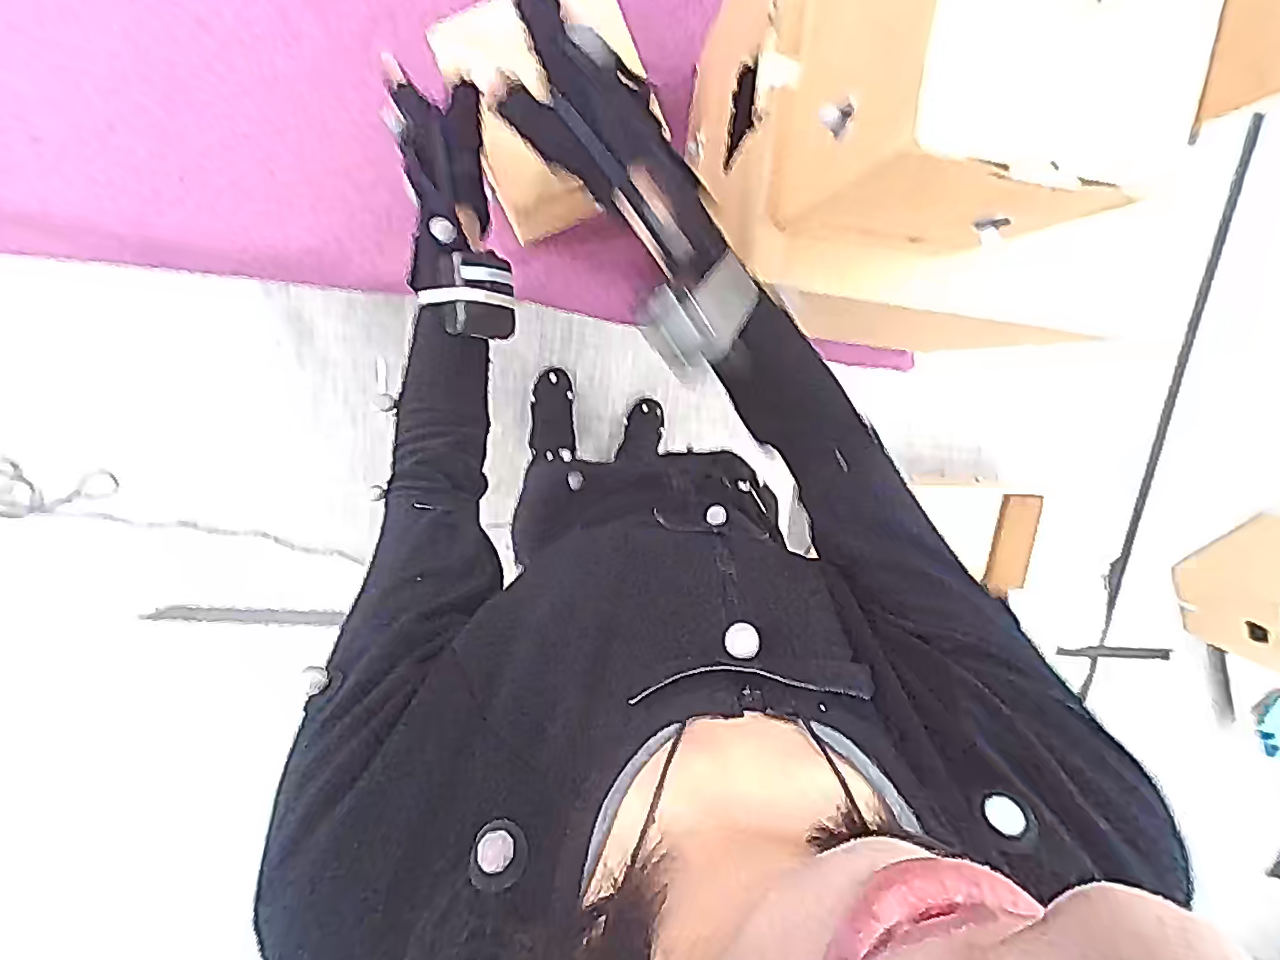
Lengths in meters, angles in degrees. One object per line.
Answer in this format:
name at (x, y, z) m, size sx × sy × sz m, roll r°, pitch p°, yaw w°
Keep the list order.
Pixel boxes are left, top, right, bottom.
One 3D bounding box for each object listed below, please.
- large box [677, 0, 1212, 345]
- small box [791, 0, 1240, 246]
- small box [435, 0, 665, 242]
large box at (0.275, -0.328, 0.590) m, size 0.408 × 0.320 × 0.320 m, roll 4°, pitch 102°, yaw -10°
small box at (0.212, -0.262, 0.342) m, size 0.168 × 0.176 × 0.179 m, roll 3°, pitch 100°, yaw -11°
small box at (-0.088, -0.387, 0.582) m, size 0.179 × 0.176 × 0.168 m, roll -26°, pitch 104°, yaw -2°
